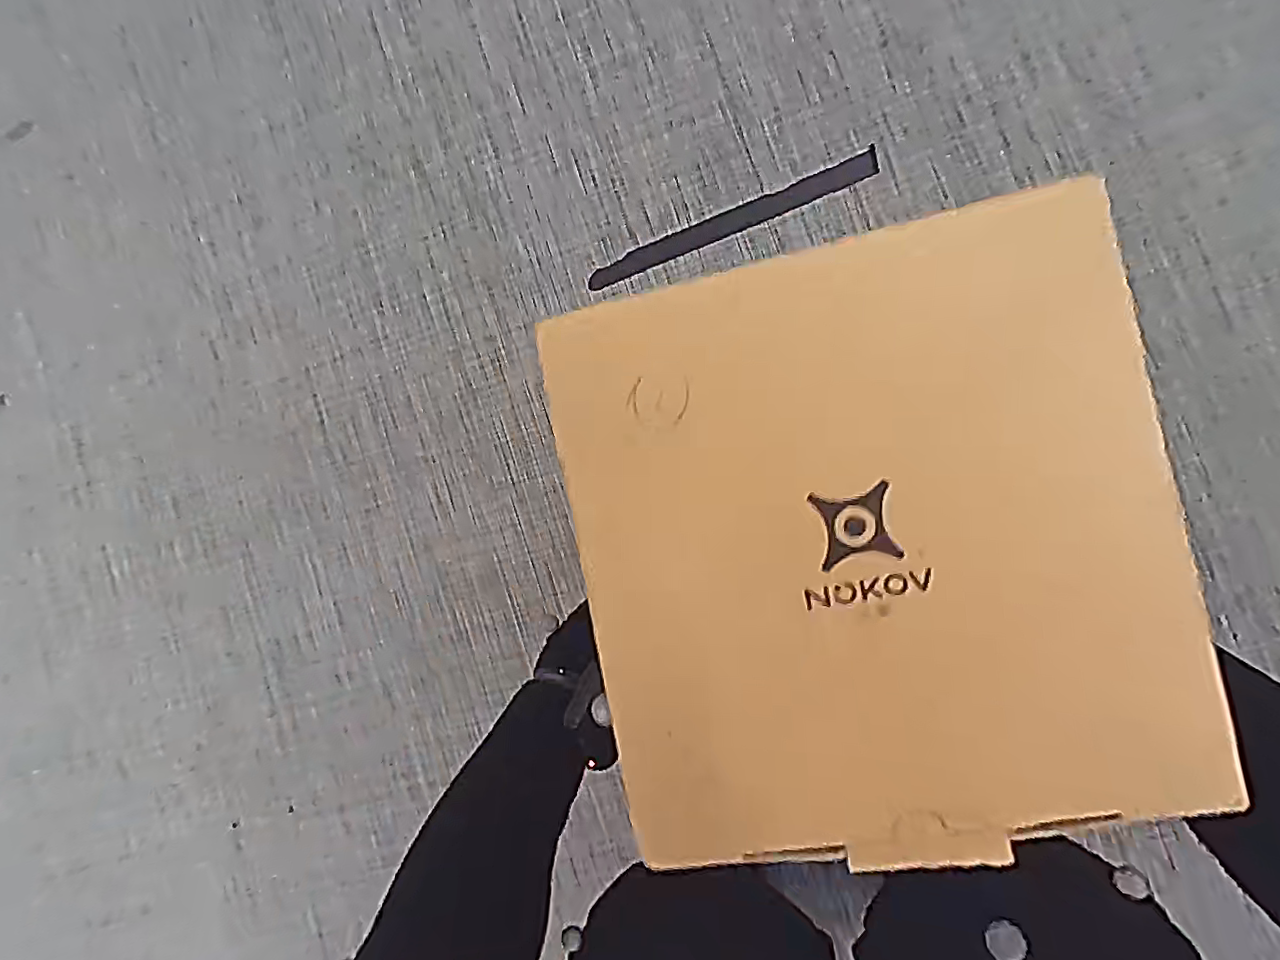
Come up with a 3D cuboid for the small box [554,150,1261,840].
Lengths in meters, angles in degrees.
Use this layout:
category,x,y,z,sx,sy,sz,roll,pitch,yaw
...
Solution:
category,x,y,z,sx,sy,sz,roll,pitch,yaw
small box,0.077,0.009,0.234,0.168,0.176,0.179,-12,88,8
